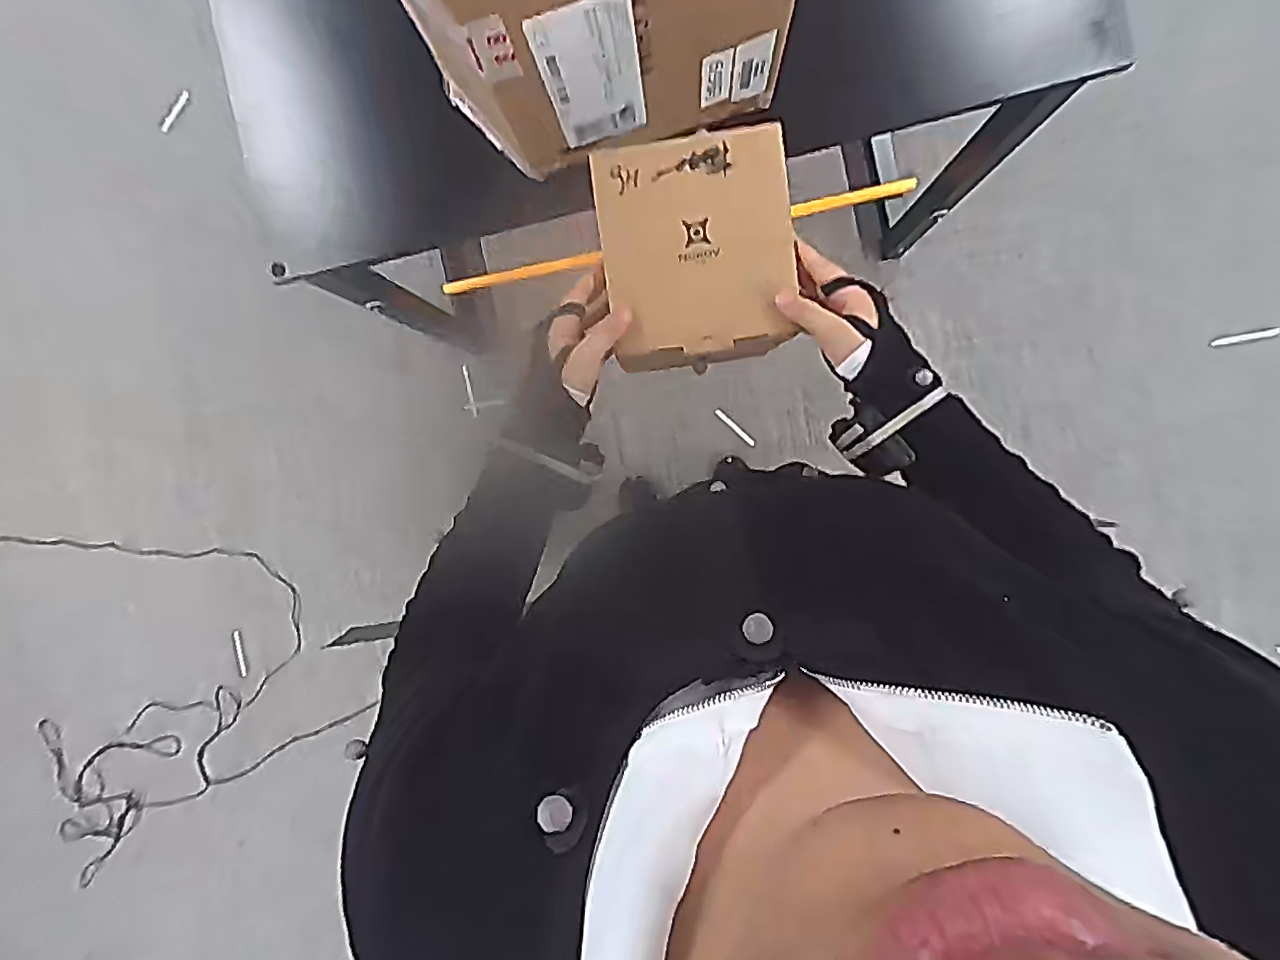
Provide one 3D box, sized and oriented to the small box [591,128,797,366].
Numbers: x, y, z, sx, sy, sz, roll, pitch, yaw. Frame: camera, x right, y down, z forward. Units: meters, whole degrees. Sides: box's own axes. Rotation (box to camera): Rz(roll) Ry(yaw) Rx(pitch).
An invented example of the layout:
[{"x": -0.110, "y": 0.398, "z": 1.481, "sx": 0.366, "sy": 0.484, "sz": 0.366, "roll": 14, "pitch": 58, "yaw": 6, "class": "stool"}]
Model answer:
[{"x": 0.051, "y": -0.213, "z": 0.546, "sx": 0.168, "sy": 0.176, "sz": 0.179, "roll": -7, "pitch": 97, "yaw": 2, "class": "small box"}]
